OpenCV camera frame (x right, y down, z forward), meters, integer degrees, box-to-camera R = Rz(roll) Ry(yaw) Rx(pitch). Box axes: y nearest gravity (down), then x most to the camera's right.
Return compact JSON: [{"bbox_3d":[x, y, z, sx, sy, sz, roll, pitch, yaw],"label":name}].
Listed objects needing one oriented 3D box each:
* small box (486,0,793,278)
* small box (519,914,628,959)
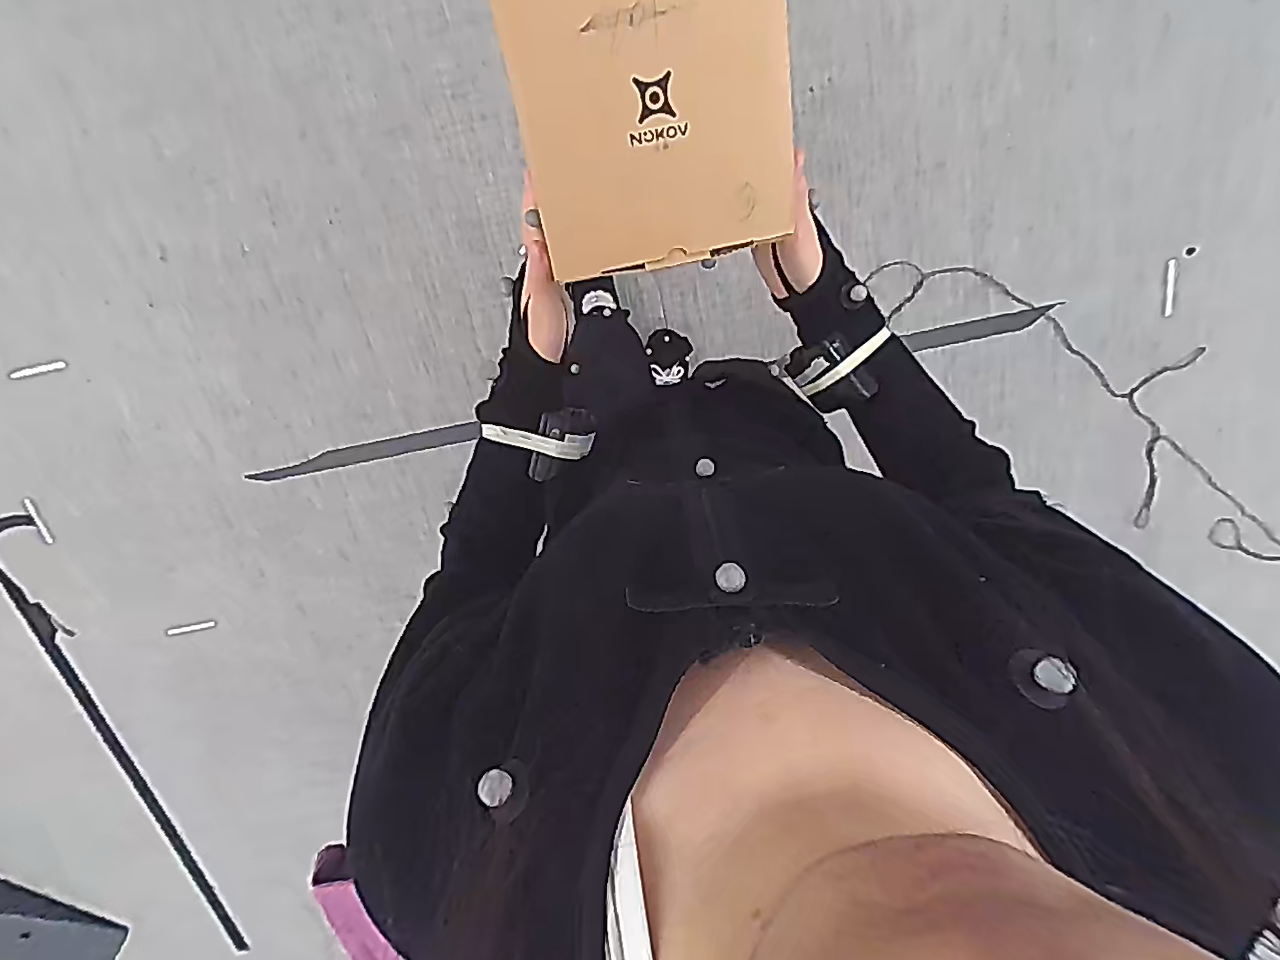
[{"bbox_3d":[-0.001,-0.259,0.391,0.168,0.176,0.179,-13,115,-1],"label":"small box"},{"bbox_3d":[-0.118,0.911,0.946,0.179,0.176,0.168,-13,107,3],"label":"small box"}]
